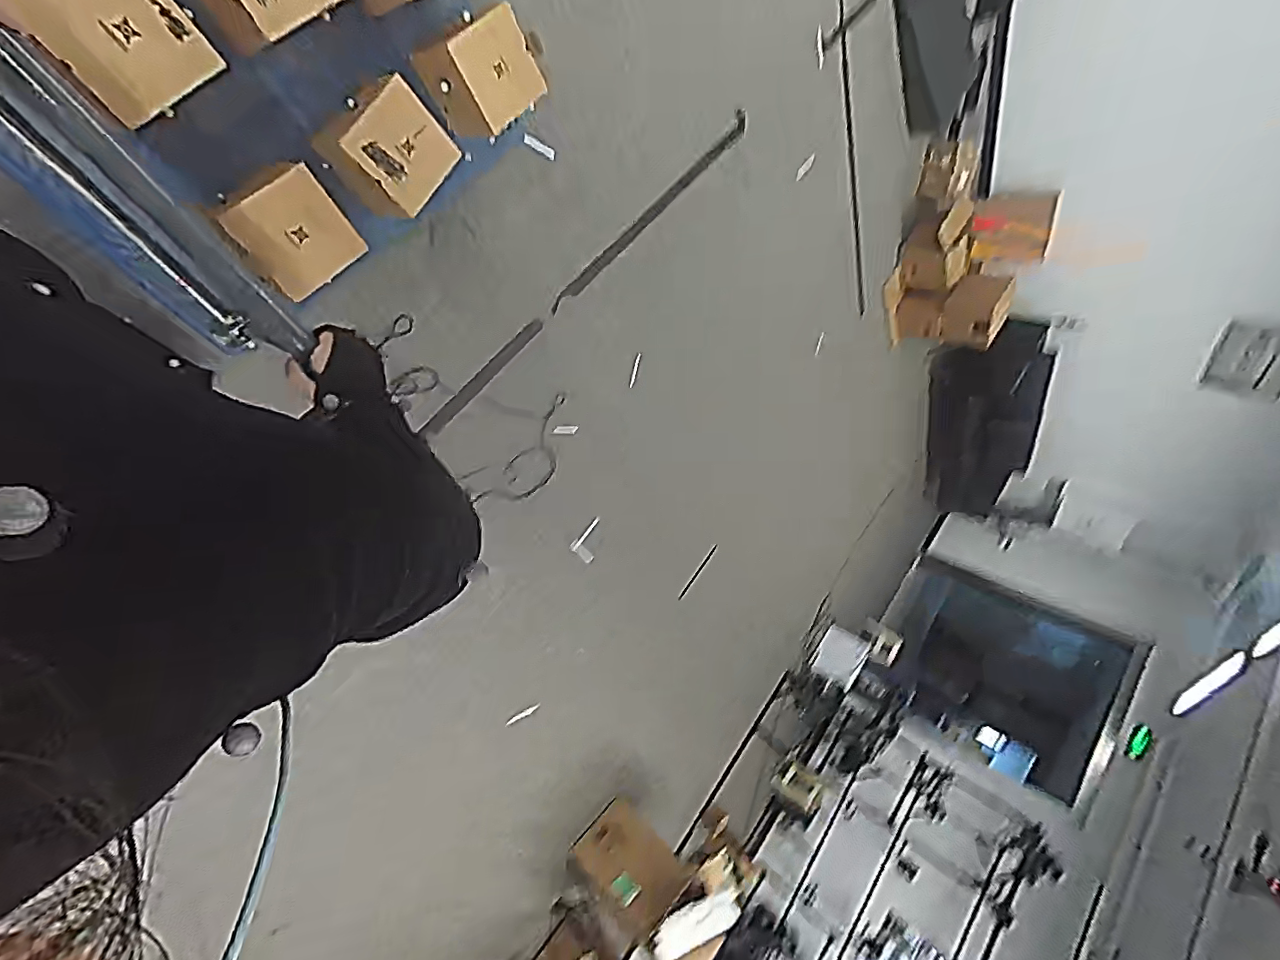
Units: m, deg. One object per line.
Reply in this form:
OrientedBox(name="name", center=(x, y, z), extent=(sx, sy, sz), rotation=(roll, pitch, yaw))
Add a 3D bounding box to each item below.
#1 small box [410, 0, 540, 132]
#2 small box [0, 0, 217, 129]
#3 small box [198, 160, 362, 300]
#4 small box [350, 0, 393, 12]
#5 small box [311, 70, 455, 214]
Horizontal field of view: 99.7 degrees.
OrientedBox(name="small box", center=(-0.353, -0.864, 1.139), extent=(0.179, 0.176, 0.168), rotation=(-52, 140, -16))
OrientedBox(name="small box", center=(-0.767, -0.632, 0.775), extent=(0.179, 0.176, 0.168), rotation=(-52, 142, -16))
OrientedBox(name="small box", center=(-0.664, -0.459, 0.994), extent=(0.179, 0.176, 0.168), rotation=(-51, 141, -19))
OrientedBox(name="small box", center=(-0.452, -0.974, 0.957), extent=(0.179, 0.176, 0.168), rotation=(-48, 139, -19))
OrientedBox(name="small box", center=(-0.511, -0.655, 1.065), extent=(0.179, 0.176, 0.168), rotation=(-59, 142, -10))
